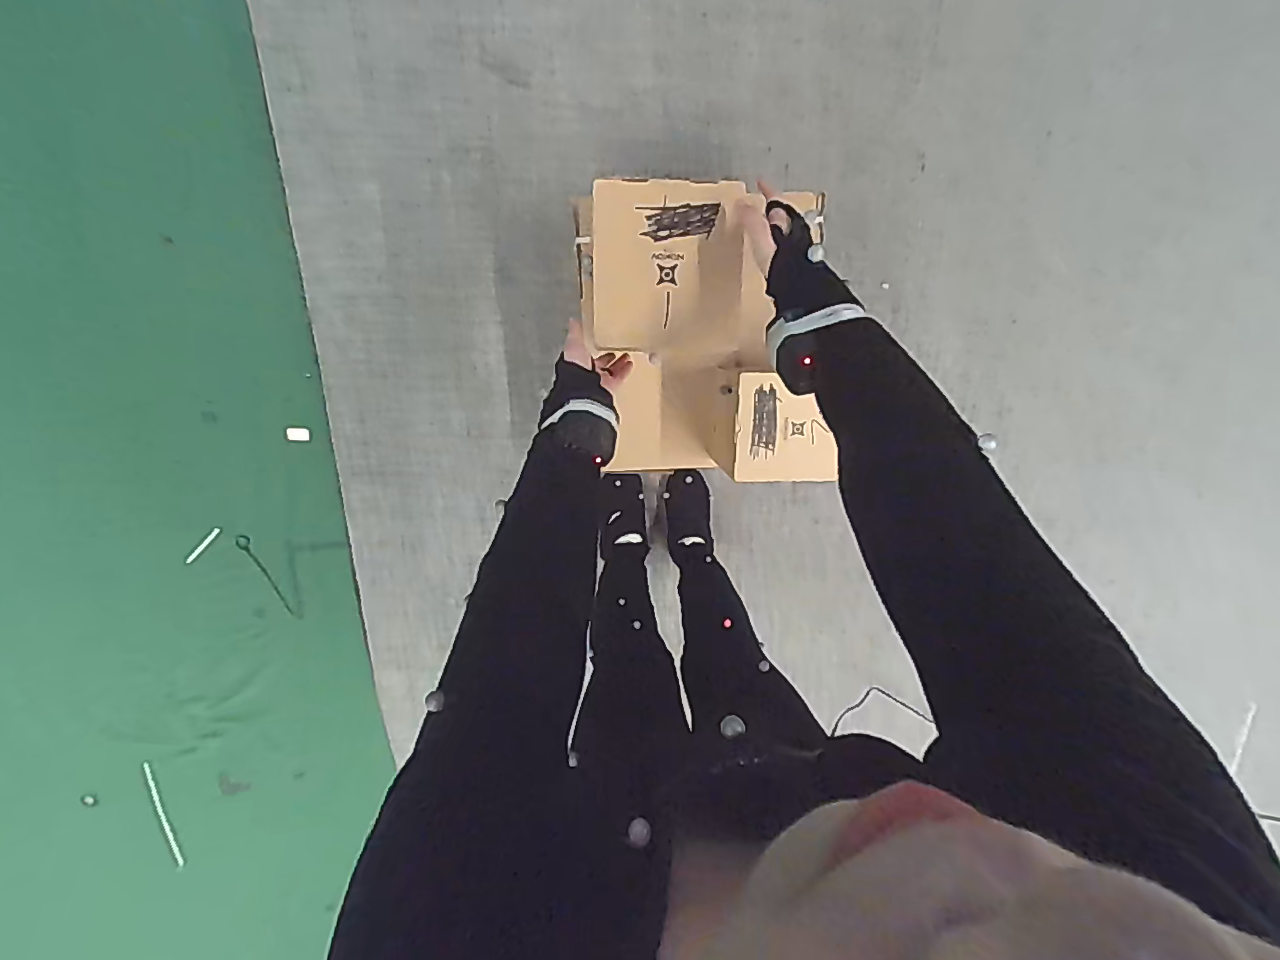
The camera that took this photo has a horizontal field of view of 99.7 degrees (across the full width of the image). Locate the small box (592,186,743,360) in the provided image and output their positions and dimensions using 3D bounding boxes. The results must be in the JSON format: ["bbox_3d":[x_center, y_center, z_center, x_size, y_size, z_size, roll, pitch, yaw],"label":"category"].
[{"bbox_3d":[0.025,-0.242,0.672,0.168,0.176,0.179,0,102,-2],"label":"small box"}]
